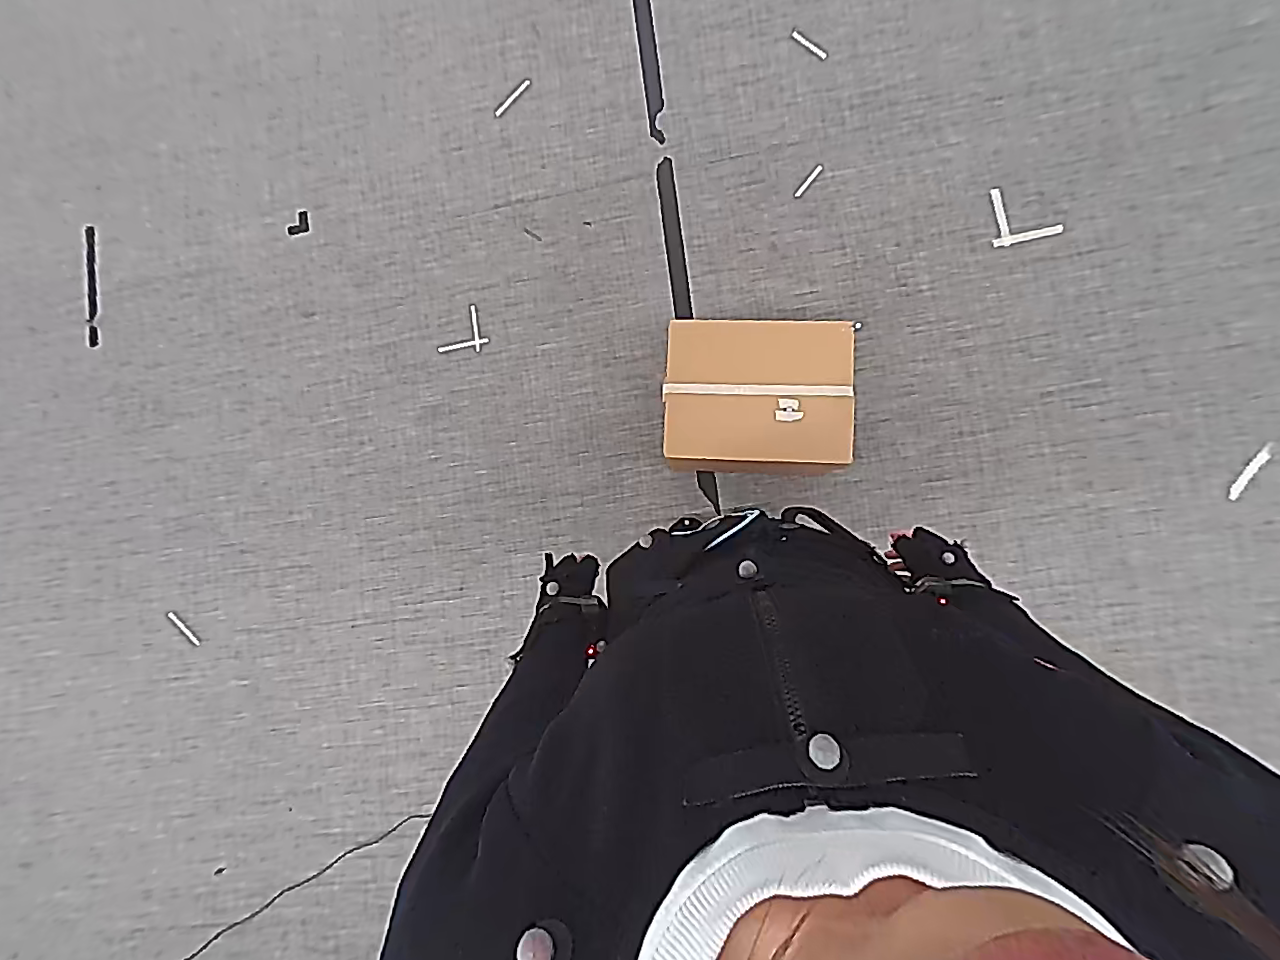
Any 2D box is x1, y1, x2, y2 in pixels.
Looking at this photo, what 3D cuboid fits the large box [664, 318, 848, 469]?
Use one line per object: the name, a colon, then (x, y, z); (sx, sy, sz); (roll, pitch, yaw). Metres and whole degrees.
large box: (0.268, -0.196, 1.343); (0.408, 0.320, 0.320); (2, 87, 6)
